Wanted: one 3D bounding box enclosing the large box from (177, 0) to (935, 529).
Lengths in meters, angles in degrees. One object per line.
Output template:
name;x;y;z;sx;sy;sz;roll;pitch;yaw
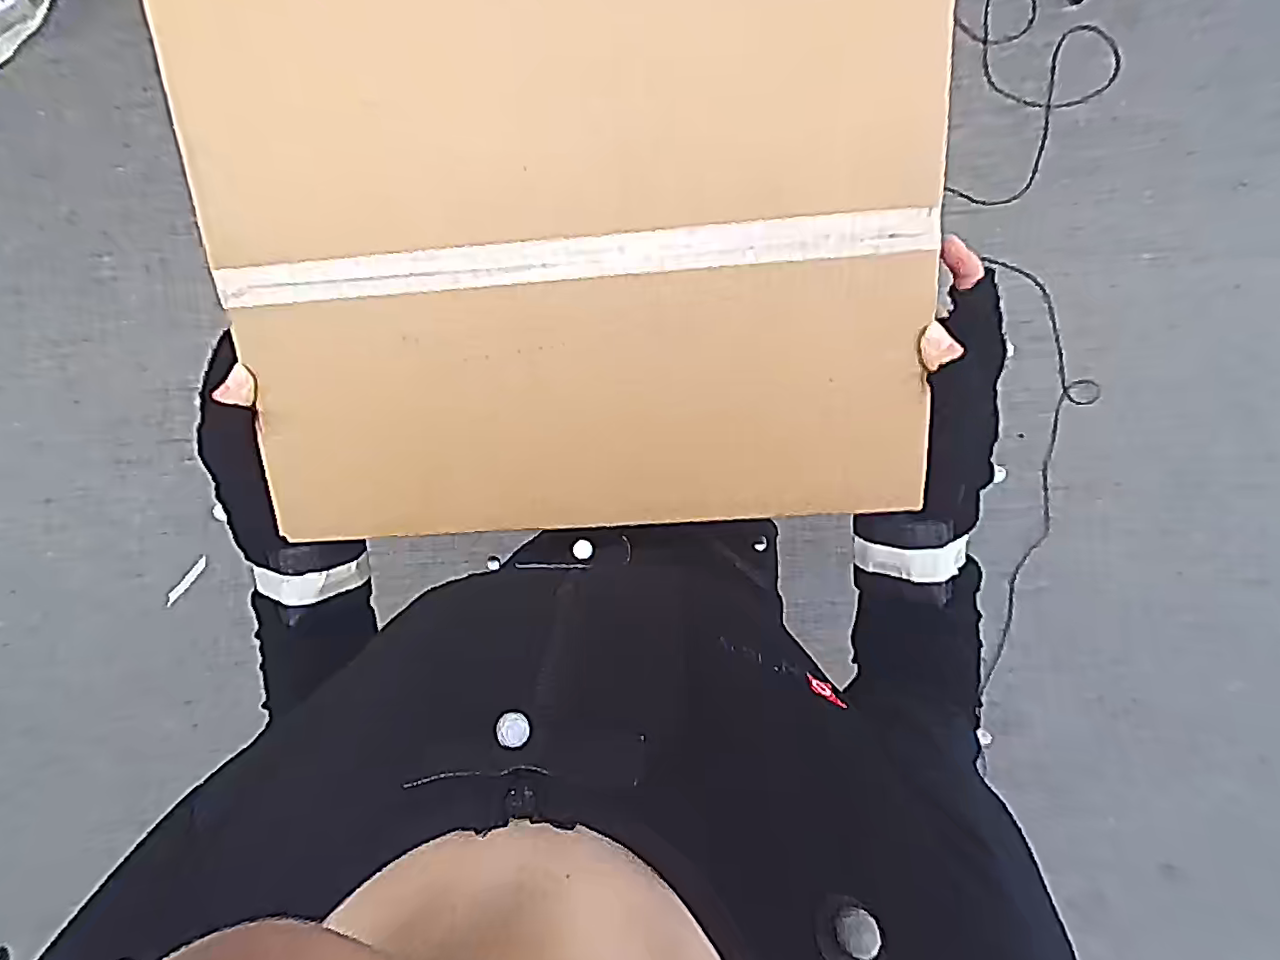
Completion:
large box;-0.035;-0.165;0.455;0.408;0.320;0.320;-3;105;3
